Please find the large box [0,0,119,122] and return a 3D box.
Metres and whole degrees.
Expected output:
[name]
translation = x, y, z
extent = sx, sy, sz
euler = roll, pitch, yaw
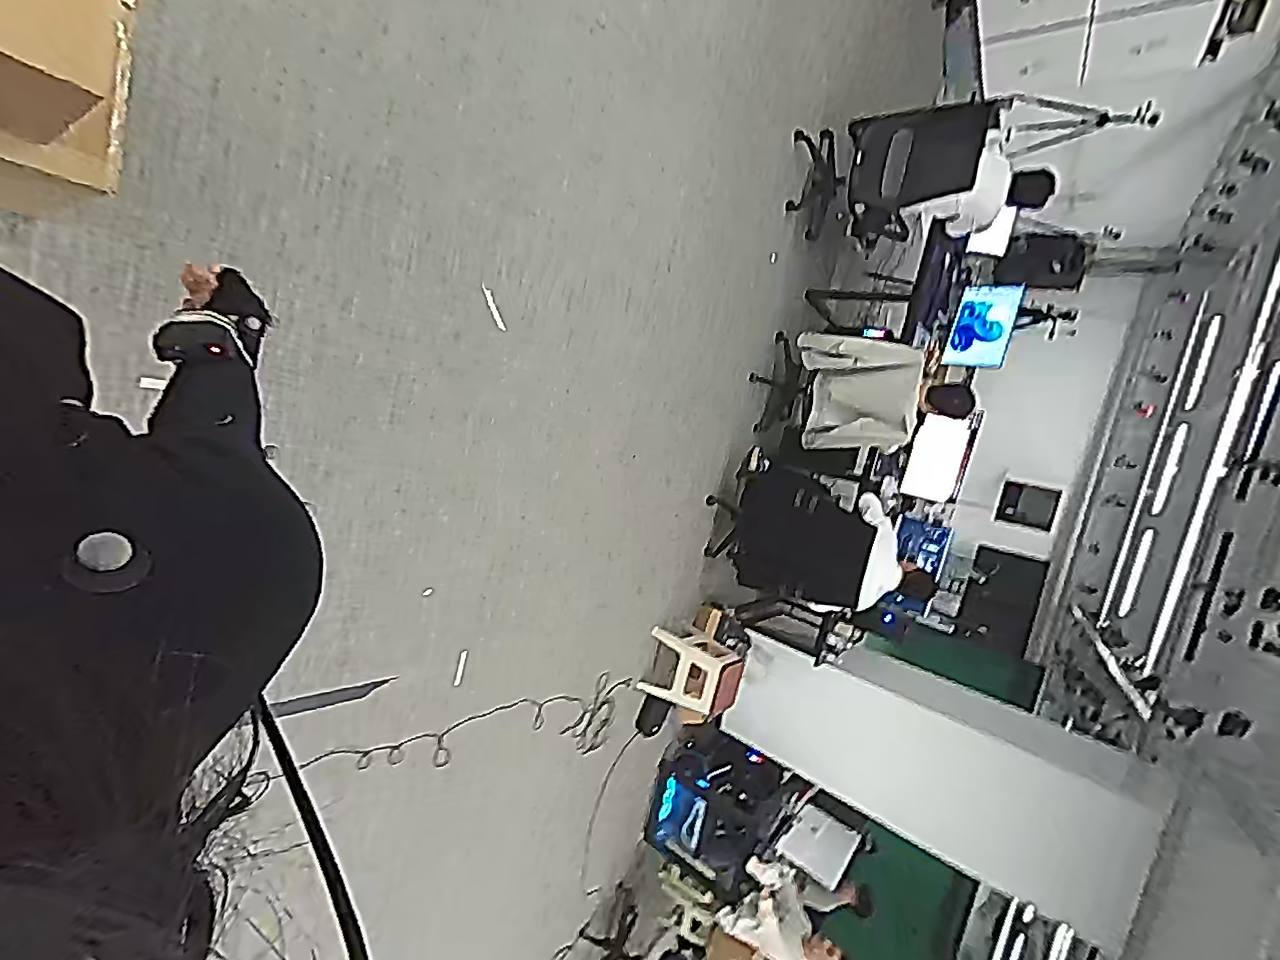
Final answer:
[large box]
translation = -0.608, -0.497, 0.318
extent = 0.408, 0.320, 0.320
euler = 4, 101, -56
